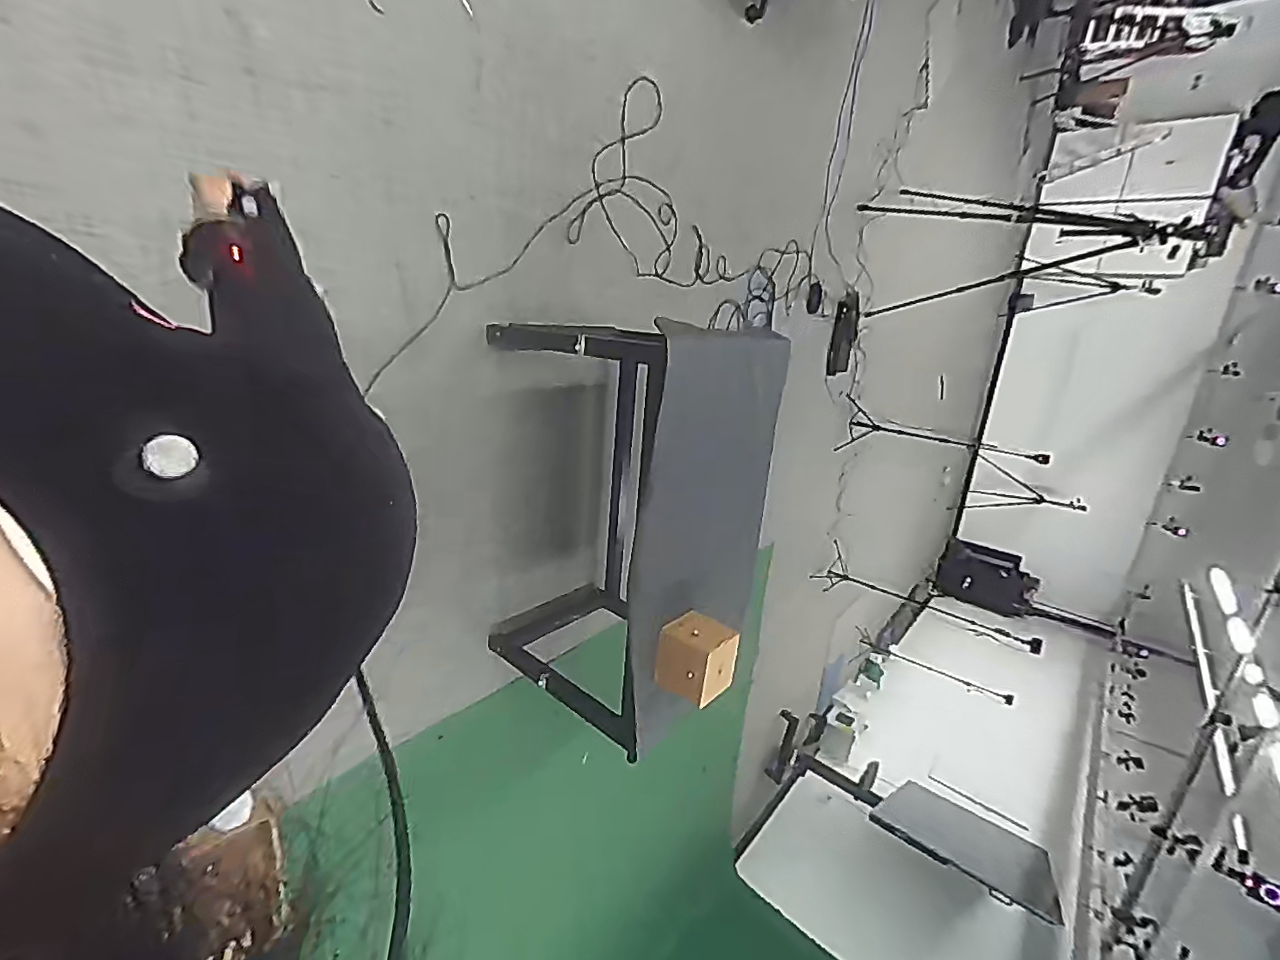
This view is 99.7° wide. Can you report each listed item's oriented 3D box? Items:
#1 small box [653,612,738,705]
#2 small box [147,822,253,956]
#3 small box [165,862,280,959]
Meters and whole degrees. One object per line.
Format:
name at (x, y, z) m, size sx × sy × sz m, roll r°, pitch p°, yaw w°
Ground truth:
small box at (0.155, 0.493, 1.534) m, size 0.168 × 0.176 × 0.179 m, roll -10°, pitch 113°, yaw -49°
small box at (-1.076, 0.999, 1.334) m, size 0.179 × 0.176 × 0.168 m, roll -13°, pitch 113°, yaw -47°
small box at (-0.953, 1.035, 1.231) m, size 0.179 × 0.176 × 0.168 m, roll -12°, pitch 114°, yaw -48°
